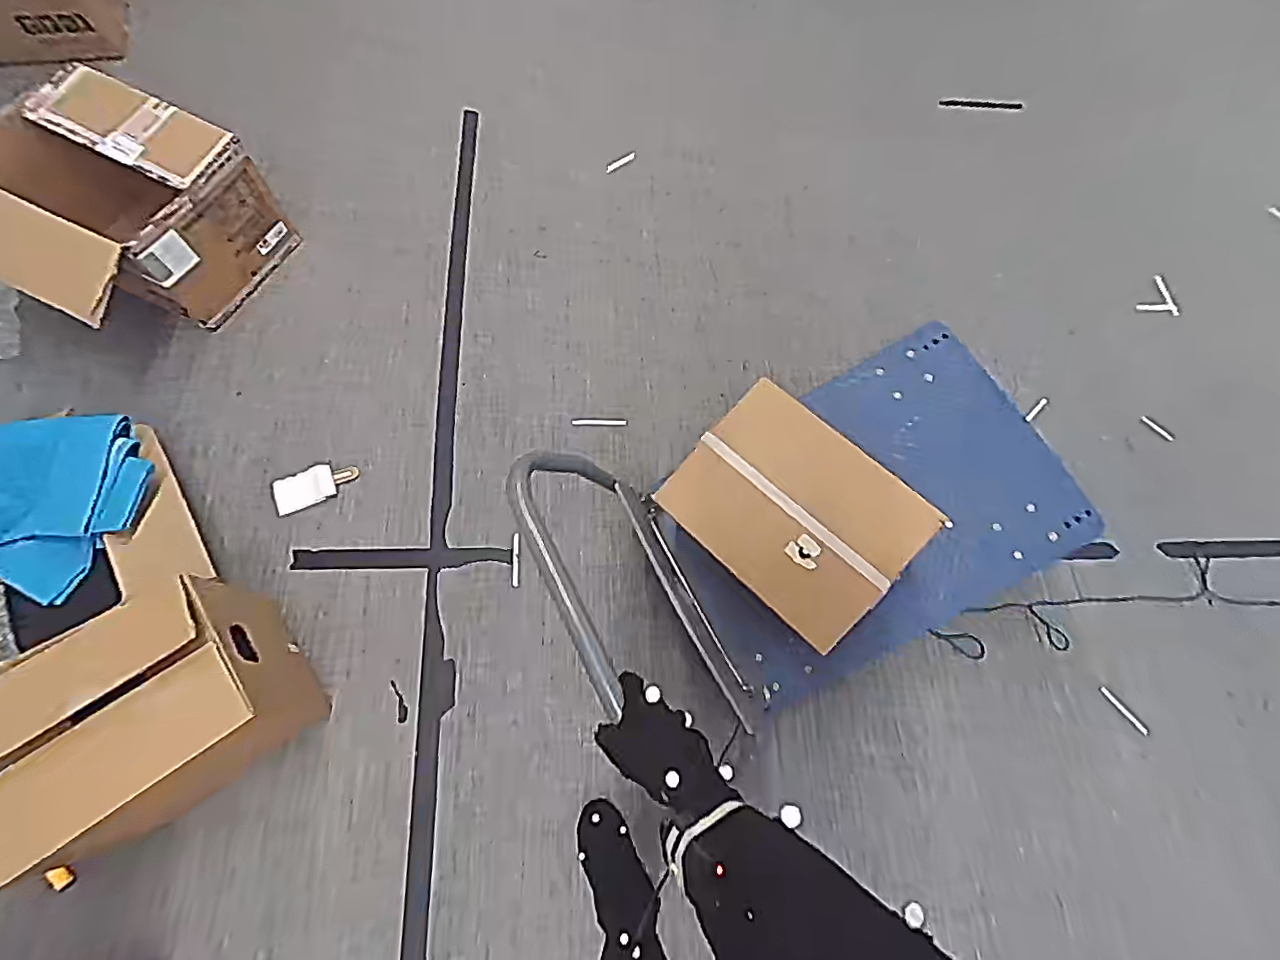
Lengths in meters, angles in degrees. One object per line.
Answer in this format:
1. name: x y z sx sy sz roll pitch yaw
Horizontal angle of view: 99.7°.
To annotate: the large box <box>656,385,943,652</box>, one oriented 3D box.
1. large box: 0.297 0.083 1.102 0.408 0.320 0.320 41 90 16
